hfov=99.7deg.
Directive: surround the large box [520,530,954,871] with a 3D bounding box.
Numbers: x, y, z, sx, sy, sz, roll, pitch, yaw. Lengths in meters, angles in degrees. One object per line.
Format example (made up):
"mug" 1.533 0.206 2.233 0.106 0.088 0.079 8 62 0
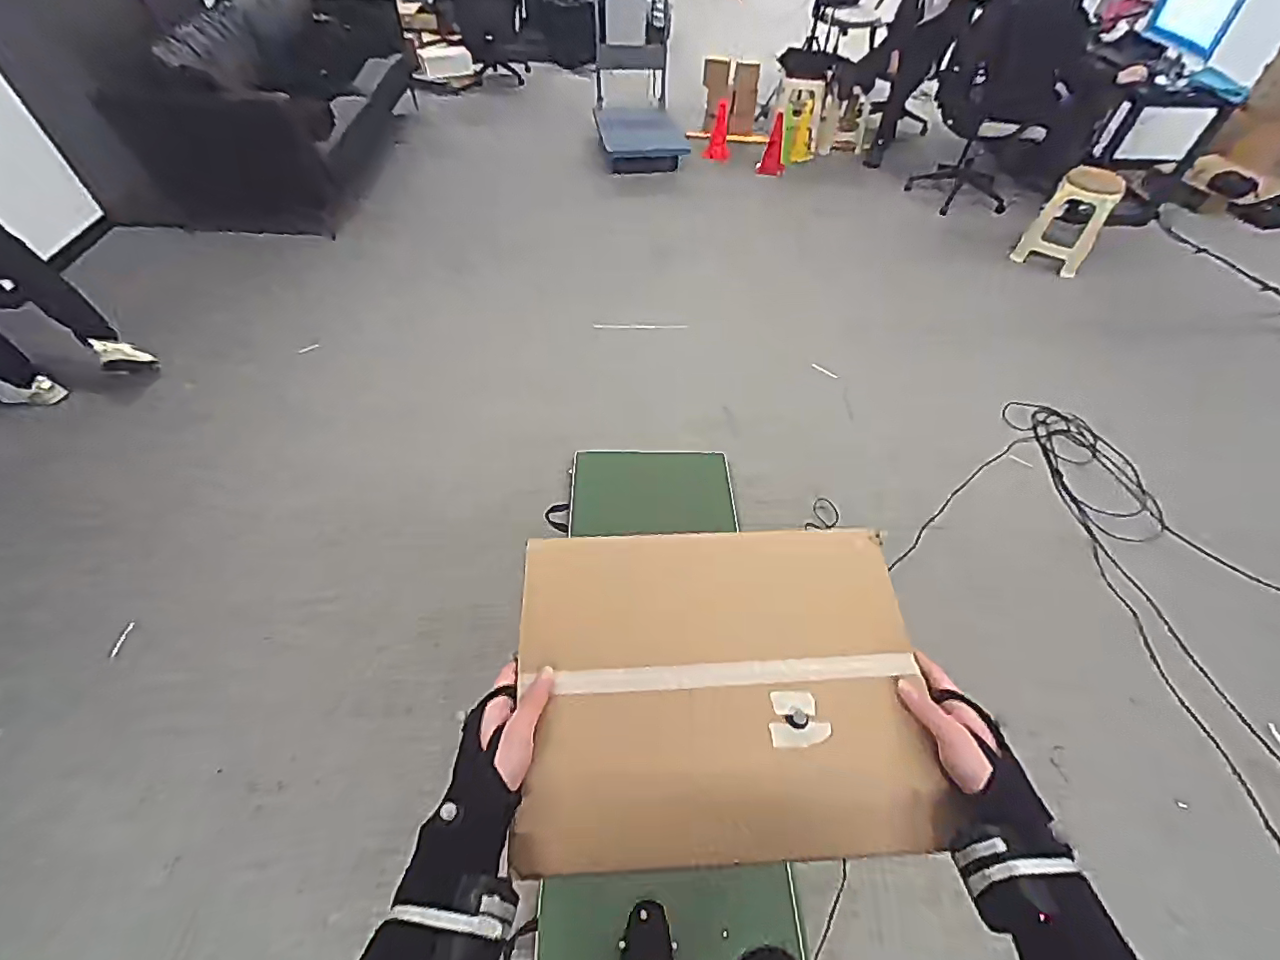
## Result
"large box" 0.075 0.275 0.682 0.408 0.320 0.320 -2 59 -4
